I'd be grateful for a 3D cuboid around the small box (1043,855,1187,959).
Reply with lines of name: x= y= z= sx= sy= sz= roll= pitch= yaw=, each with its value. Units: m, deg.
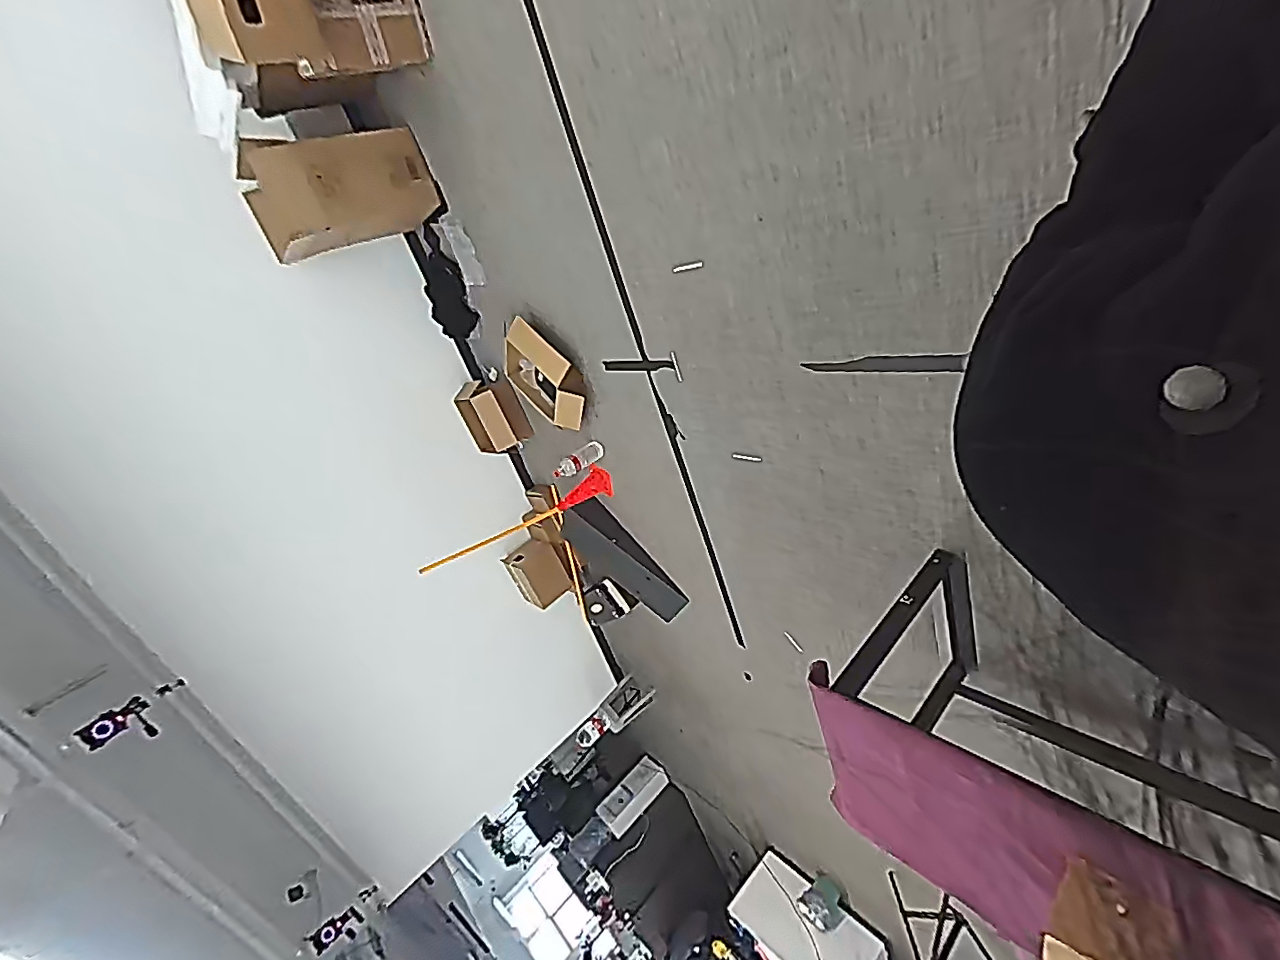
small box: x=0.875 y=0.857 z=1.000 sx=0.168 sy=0.176 sz=0.179 roll=15 pitch=133 yaw=48
